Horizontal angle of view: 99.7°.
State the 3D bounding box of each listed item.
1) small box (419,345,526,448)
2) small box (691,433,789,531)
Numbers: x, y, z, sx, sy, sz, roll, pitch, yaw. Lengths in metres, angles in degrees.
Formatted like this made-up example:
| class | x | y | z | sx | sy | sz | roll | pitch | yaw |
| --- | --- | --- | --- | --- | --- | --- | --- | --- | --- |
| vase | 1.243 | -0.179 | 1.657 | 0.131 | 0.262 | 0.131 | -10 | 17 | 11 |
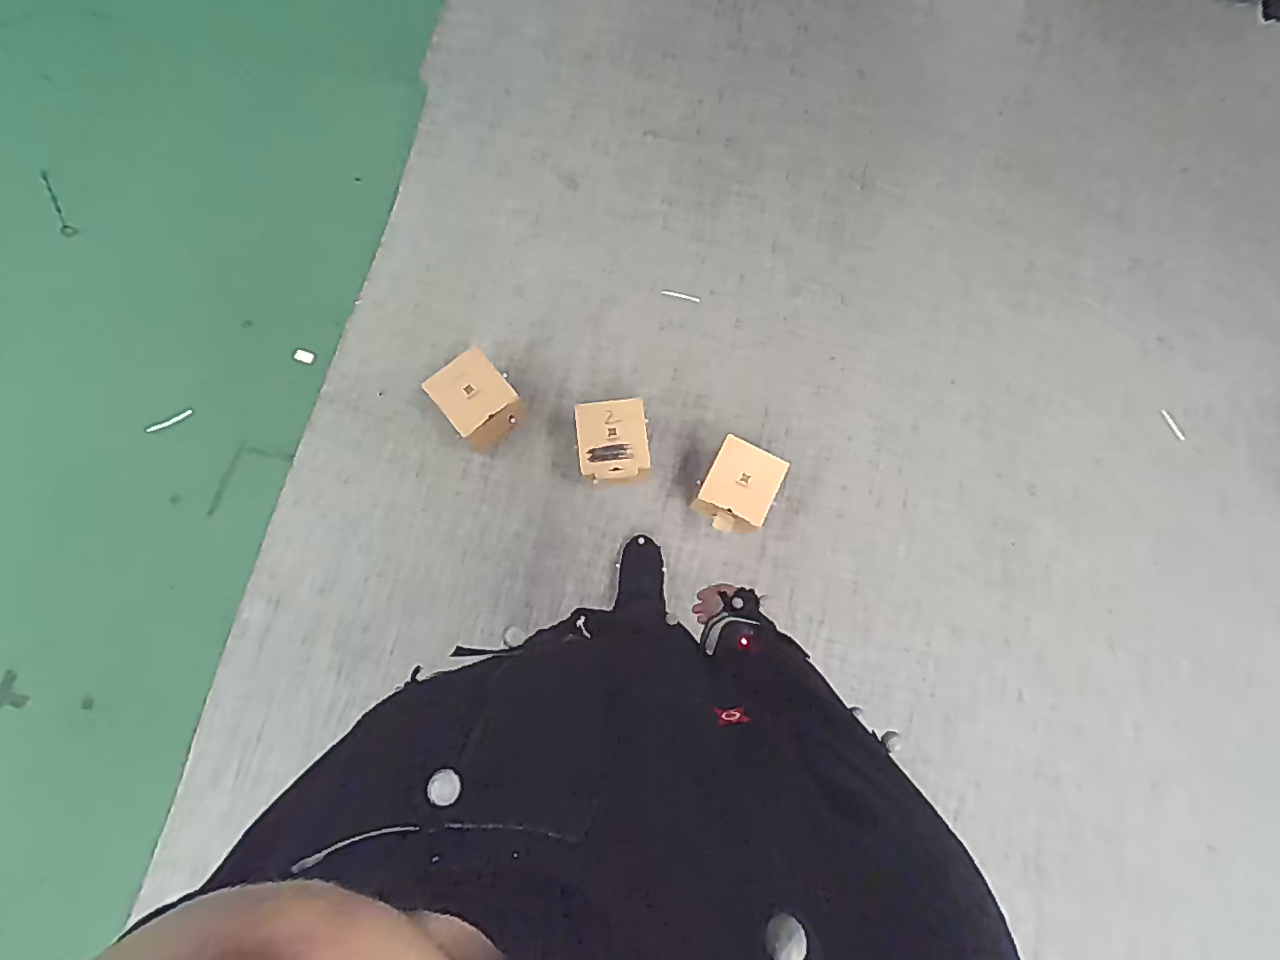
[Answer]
| class | x | y | z | sx | sy | sz | roll | pitch | yaw |
| --- | --- | --- | --- | --- | --- | --- | --- | --- | --- |
| small box | -0.409 | -0.197 | 1.357 | 0.168 | 0.176 | 0.179 | -40 | 82 | -9 |
| small box | 0.239 | 0.012 | 1.343 | 0.168 | 0.176 | 0.179 | 26 | 81 | 2 |
